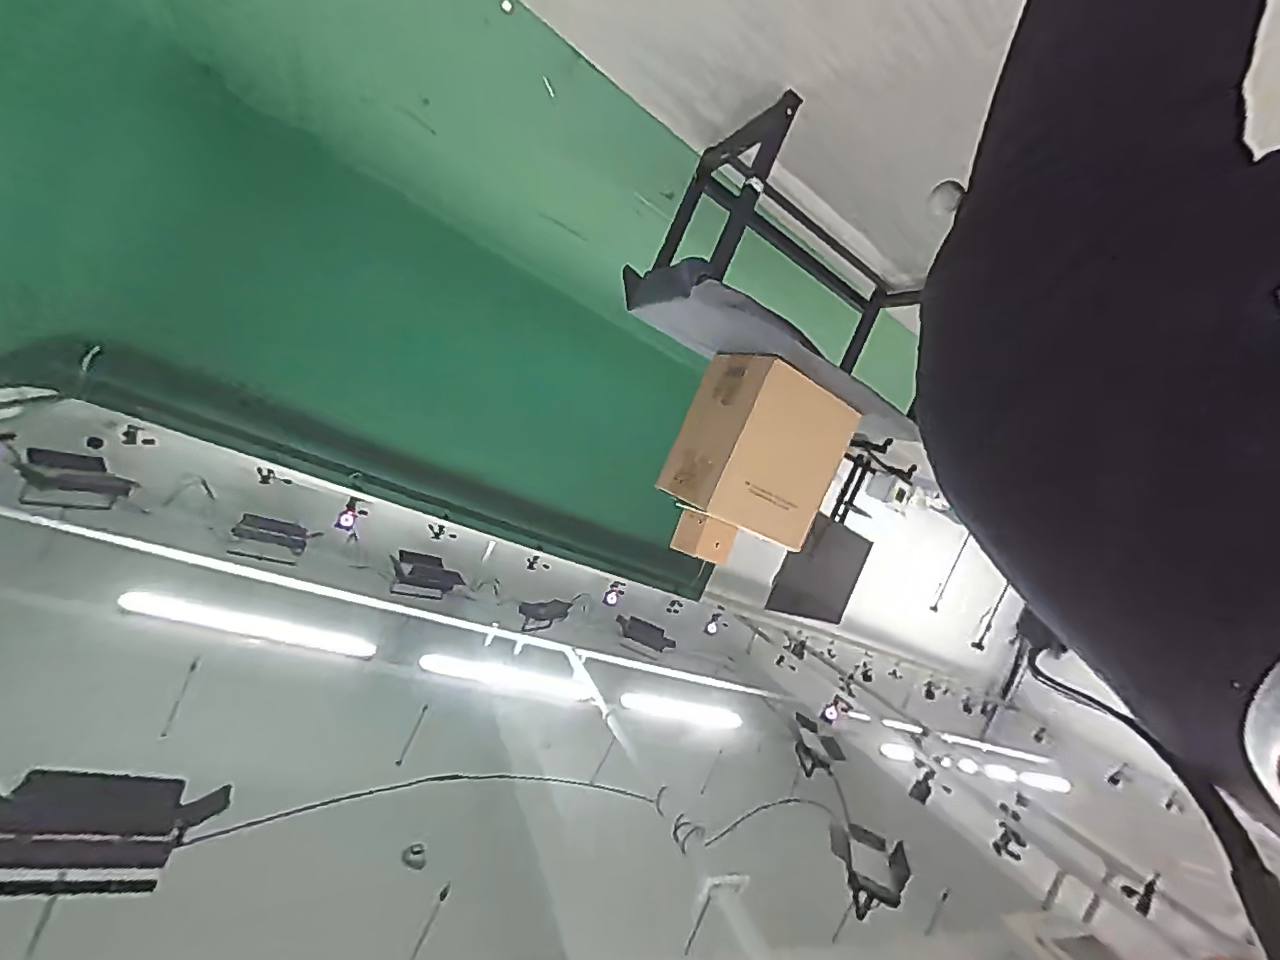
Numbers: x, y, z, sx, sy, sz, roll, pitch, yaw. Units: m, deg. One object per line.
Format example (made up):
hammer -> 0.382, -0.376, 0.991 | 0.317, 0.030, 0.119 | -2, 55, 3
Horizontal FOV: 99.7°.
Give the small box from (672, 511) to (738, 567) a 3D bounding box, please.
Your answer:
small box -> 0.267, 0.236, 2.204 | 0.179, 0.176, 0.168 | 23, 175, -31
